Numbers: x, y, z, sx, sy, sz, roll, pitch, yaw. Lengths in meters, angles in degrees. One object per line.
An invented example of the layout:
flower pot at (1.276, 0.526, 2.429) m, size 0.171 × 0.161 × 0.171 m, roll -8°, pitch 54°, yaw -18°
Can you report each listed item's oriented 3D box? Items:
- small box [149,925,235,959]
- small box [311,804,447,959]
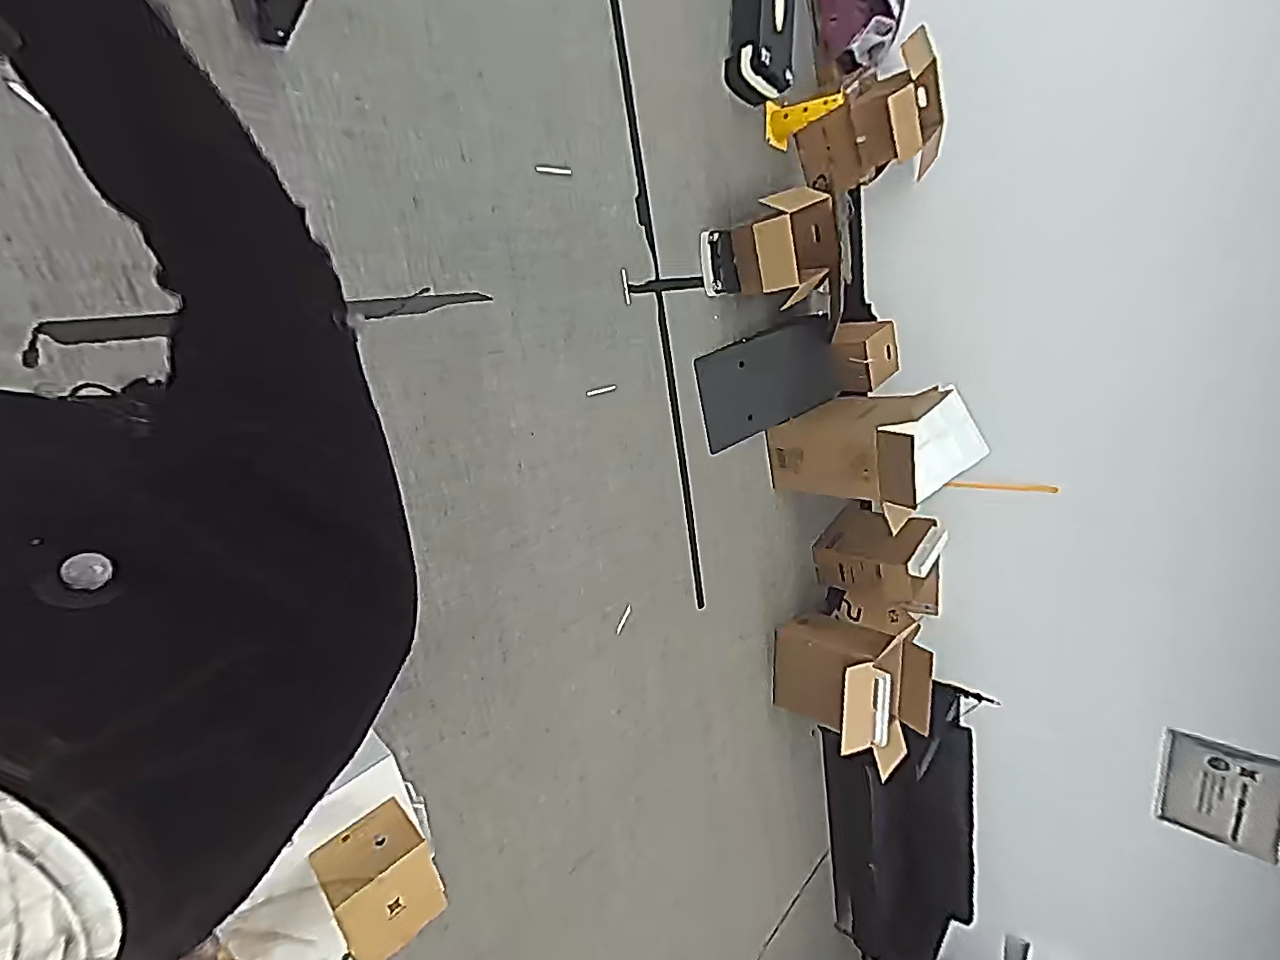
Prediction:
small box at (-0.718, 0.860, 0.840) m, size 0.168 × 0.176 × 0.179 m, roll -29°, pitch 116°, yaw -41°
small box at (-0.506, 0.771, 1.047) m, size 0.168 × 0.176 × 0.179 m, roll -24°, pitch 113°, yaw -41°
